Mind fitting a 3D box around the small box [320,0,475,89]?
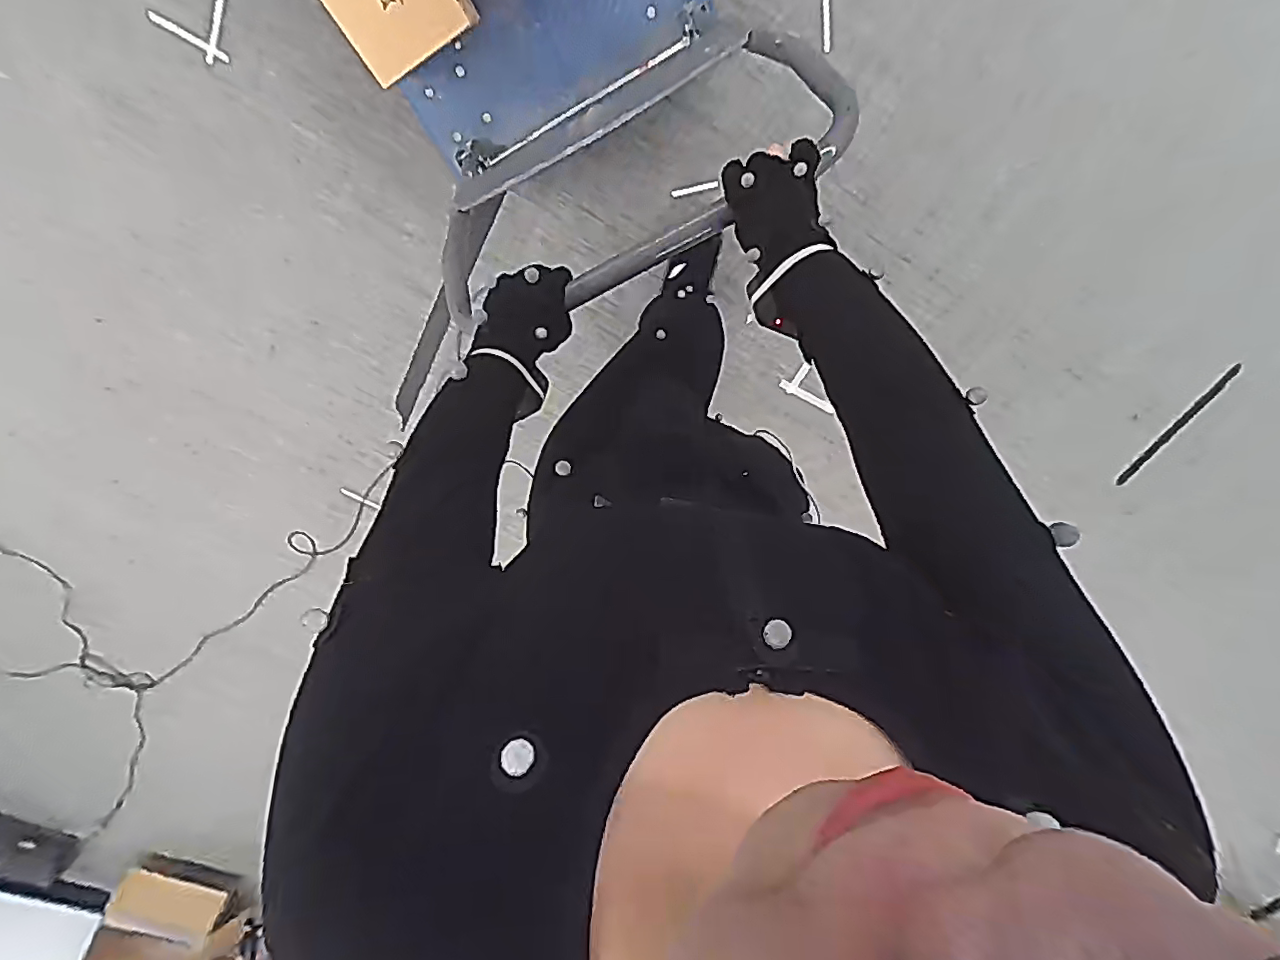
[{"bbox_3d":[-0.380,-0.757,0.850,0.179,0.176,0.168,-28,130,12],"label":"small box"}]
